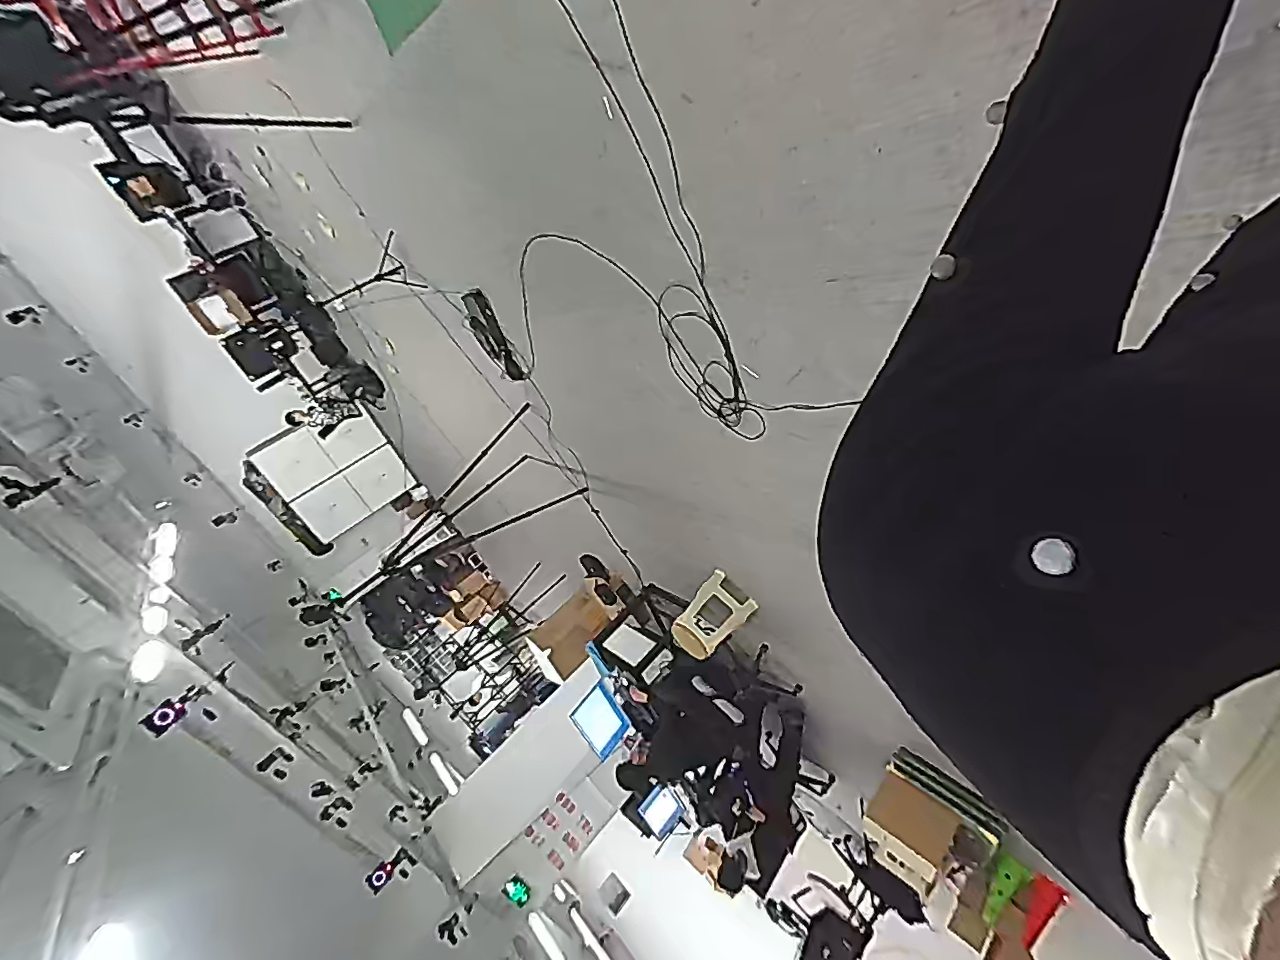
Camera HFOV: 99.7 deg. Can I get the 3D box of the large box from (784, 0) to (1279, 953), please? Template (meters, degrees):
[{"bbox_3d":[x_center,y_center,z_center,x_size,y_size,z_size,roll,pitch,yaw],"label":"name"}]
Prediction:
[{"bbox_3d":[0.306,0.005,0.188,0.408,0.320,0.320,32,-175,13],"label":"large box"}]
